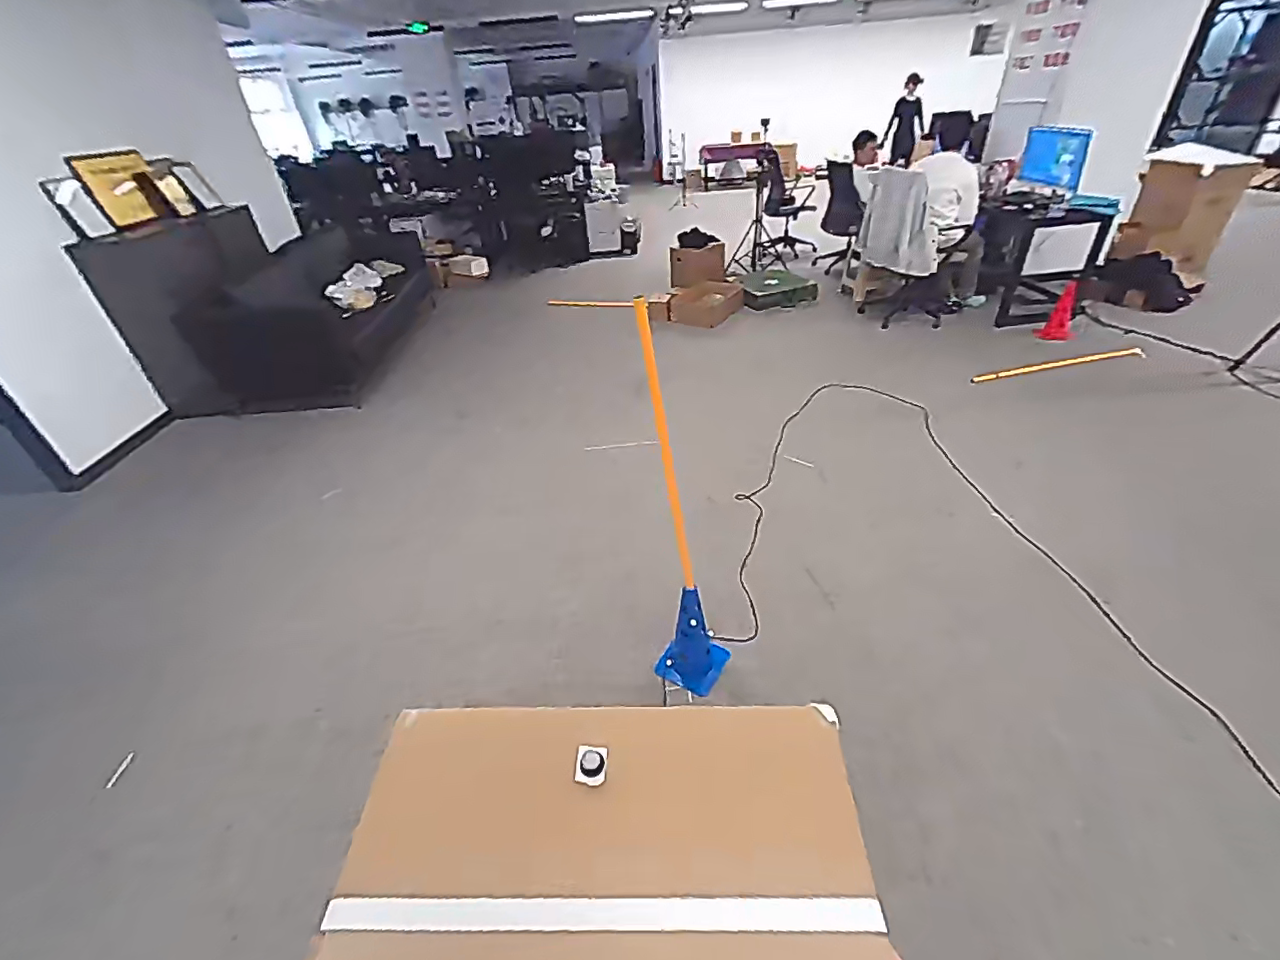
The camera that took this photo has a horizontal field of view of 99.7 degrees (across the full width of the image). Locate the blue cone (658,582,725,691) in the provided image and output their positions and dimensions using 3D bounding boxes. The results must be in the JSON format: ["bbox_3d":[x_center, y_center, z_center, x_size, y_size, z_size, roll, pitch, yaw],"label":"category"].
[{"bbox_3d":[0.158,0.465,1.692,0.192,0.380,0.193,15,40,27],"label":"blue cone"}]
